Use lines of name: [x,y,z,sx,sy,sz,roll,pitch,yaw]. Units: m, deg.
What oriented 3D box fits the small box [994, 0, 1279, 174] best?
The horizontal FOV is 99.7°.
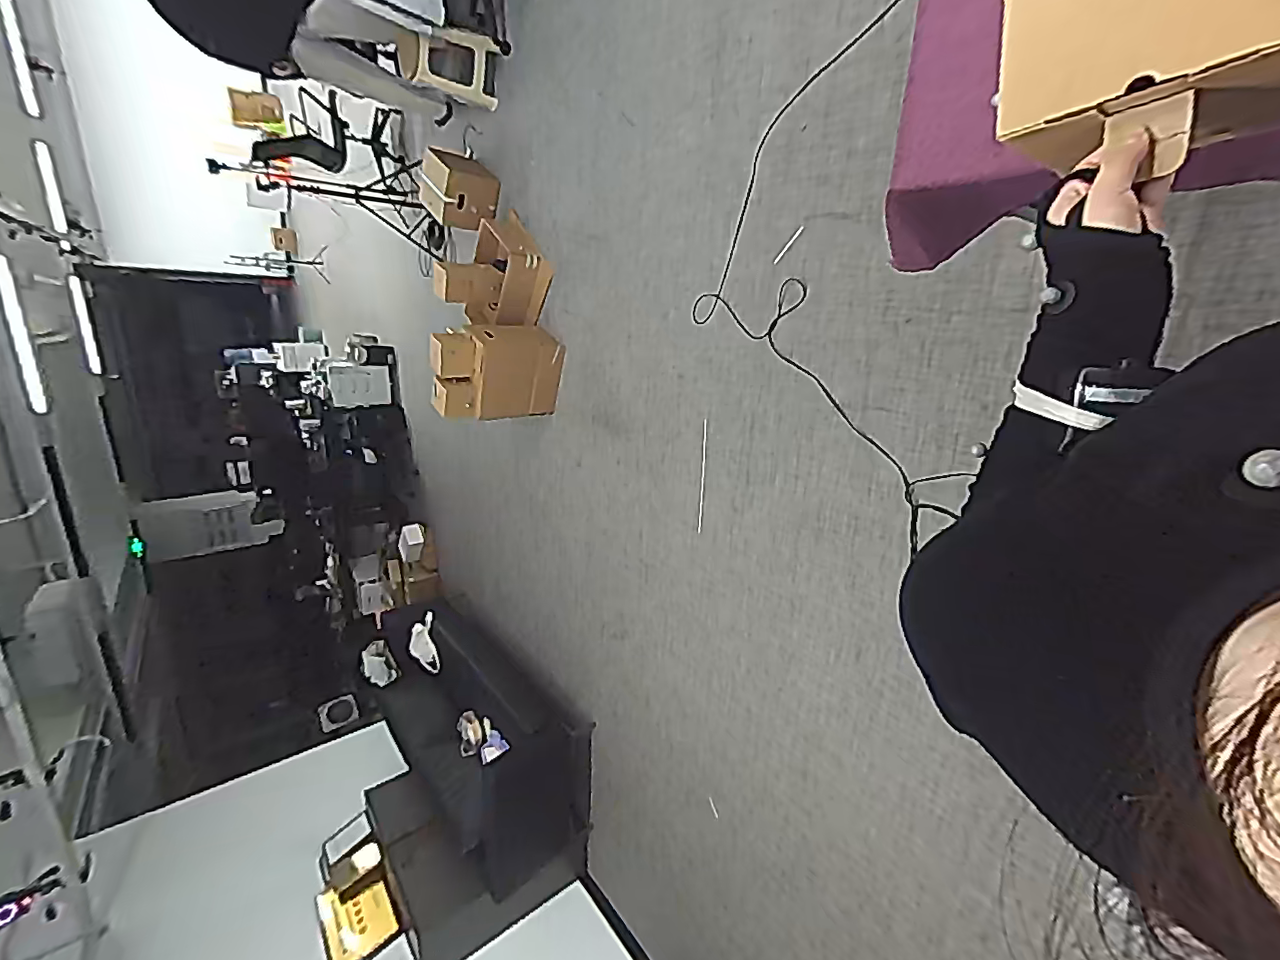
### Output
small box: [0.389,-0.355,0.399,0.168,0.176,0.179,10,108,51]
